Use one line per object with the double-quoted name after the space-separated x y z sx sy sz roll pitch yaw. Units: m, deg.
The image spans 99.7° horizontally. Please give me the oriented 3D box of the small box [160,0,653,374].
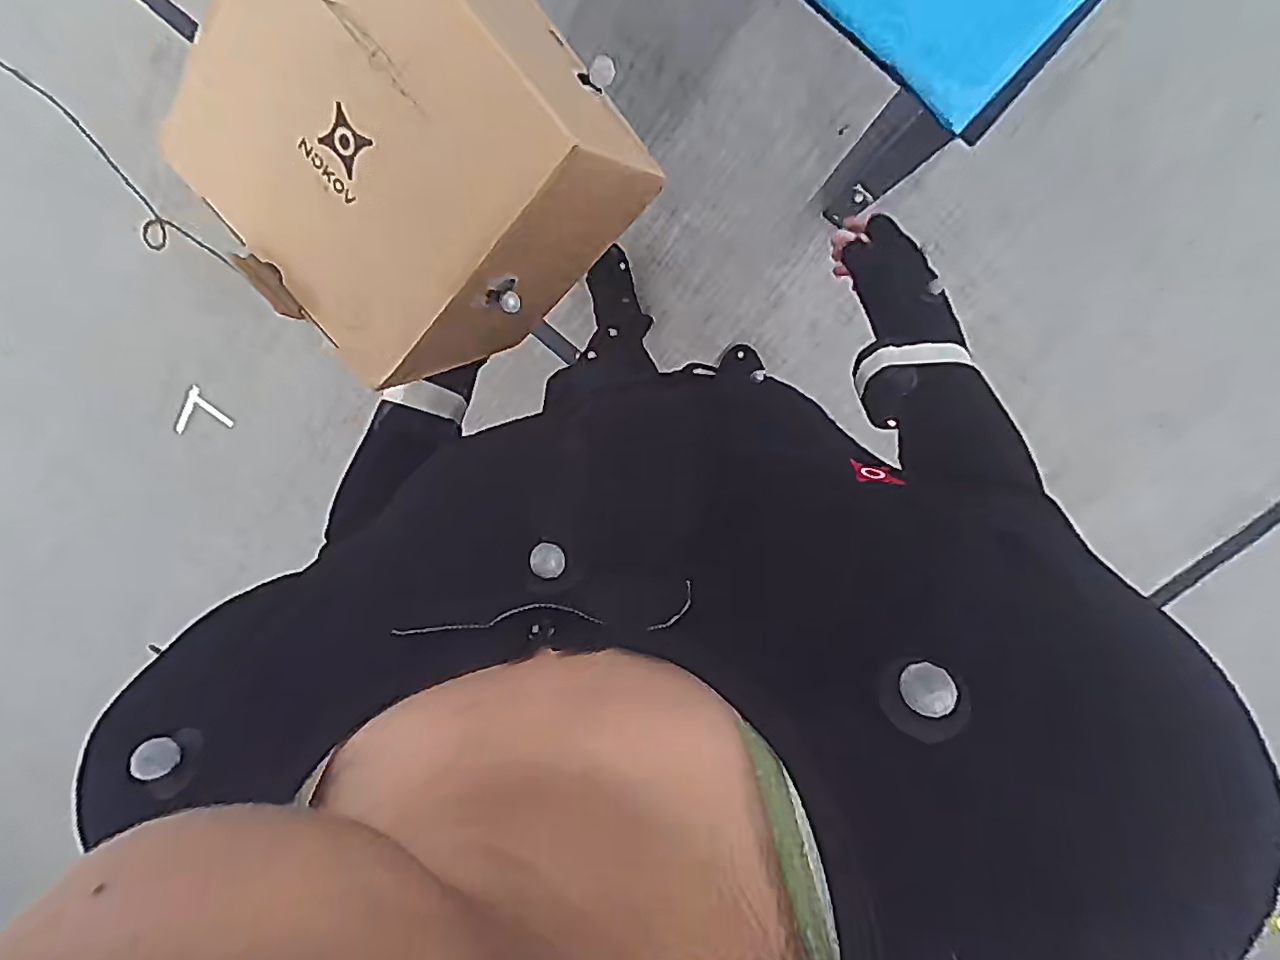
-0.119 -0.193 0.324 0.179 0.176 0.168 -35 98 29 "small box"
